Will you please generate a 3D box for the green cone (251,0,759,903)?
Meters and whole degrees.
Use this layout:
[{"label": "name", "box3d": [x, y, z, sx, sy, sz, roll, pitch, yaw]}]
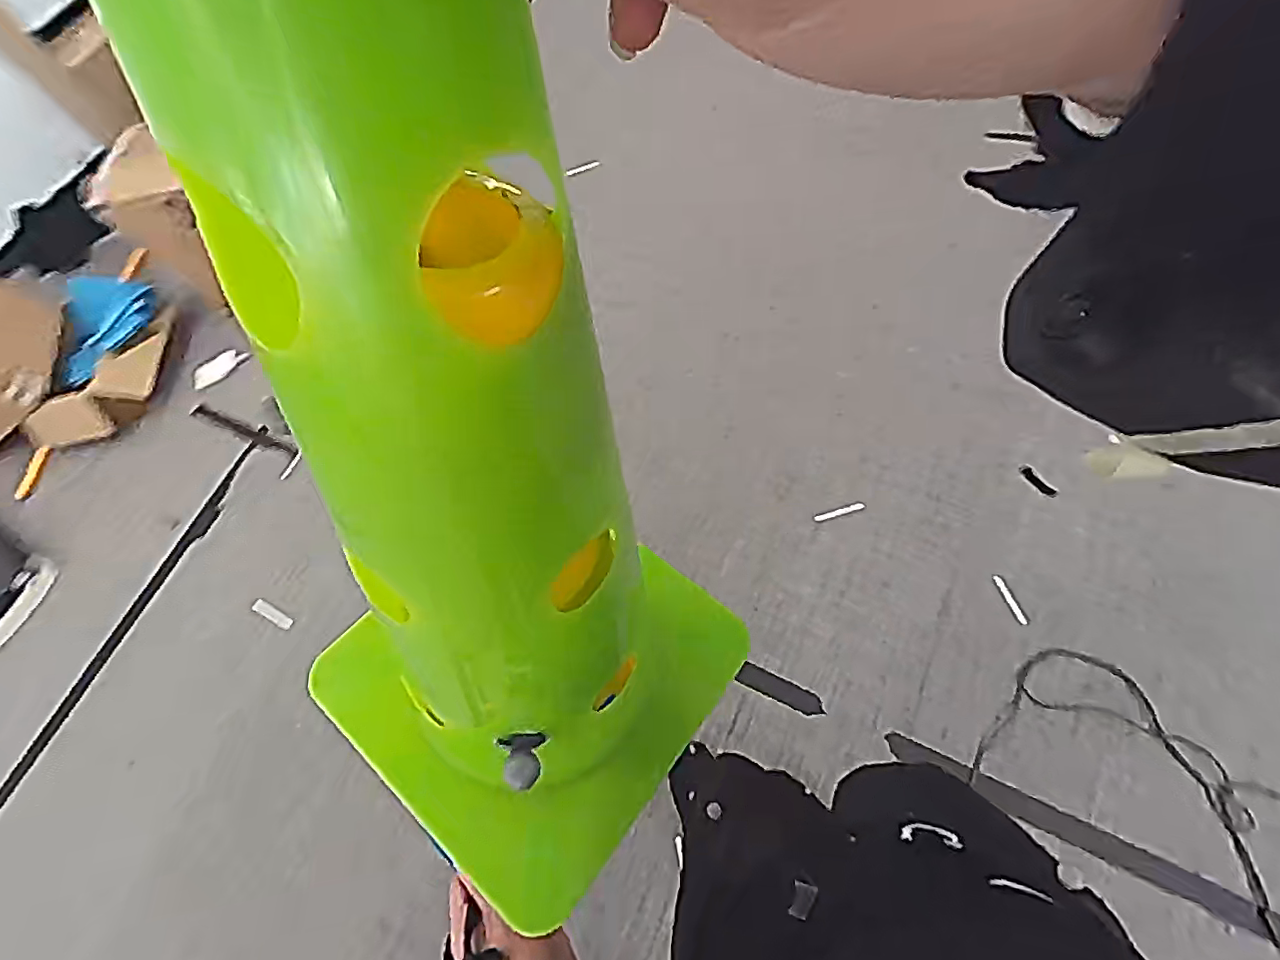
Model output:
[{"label": "green cone", "box3d": [-0.042, -0.002, 0.182, 0.202, 0.368, 0.200, 36, 61, 18]}]
